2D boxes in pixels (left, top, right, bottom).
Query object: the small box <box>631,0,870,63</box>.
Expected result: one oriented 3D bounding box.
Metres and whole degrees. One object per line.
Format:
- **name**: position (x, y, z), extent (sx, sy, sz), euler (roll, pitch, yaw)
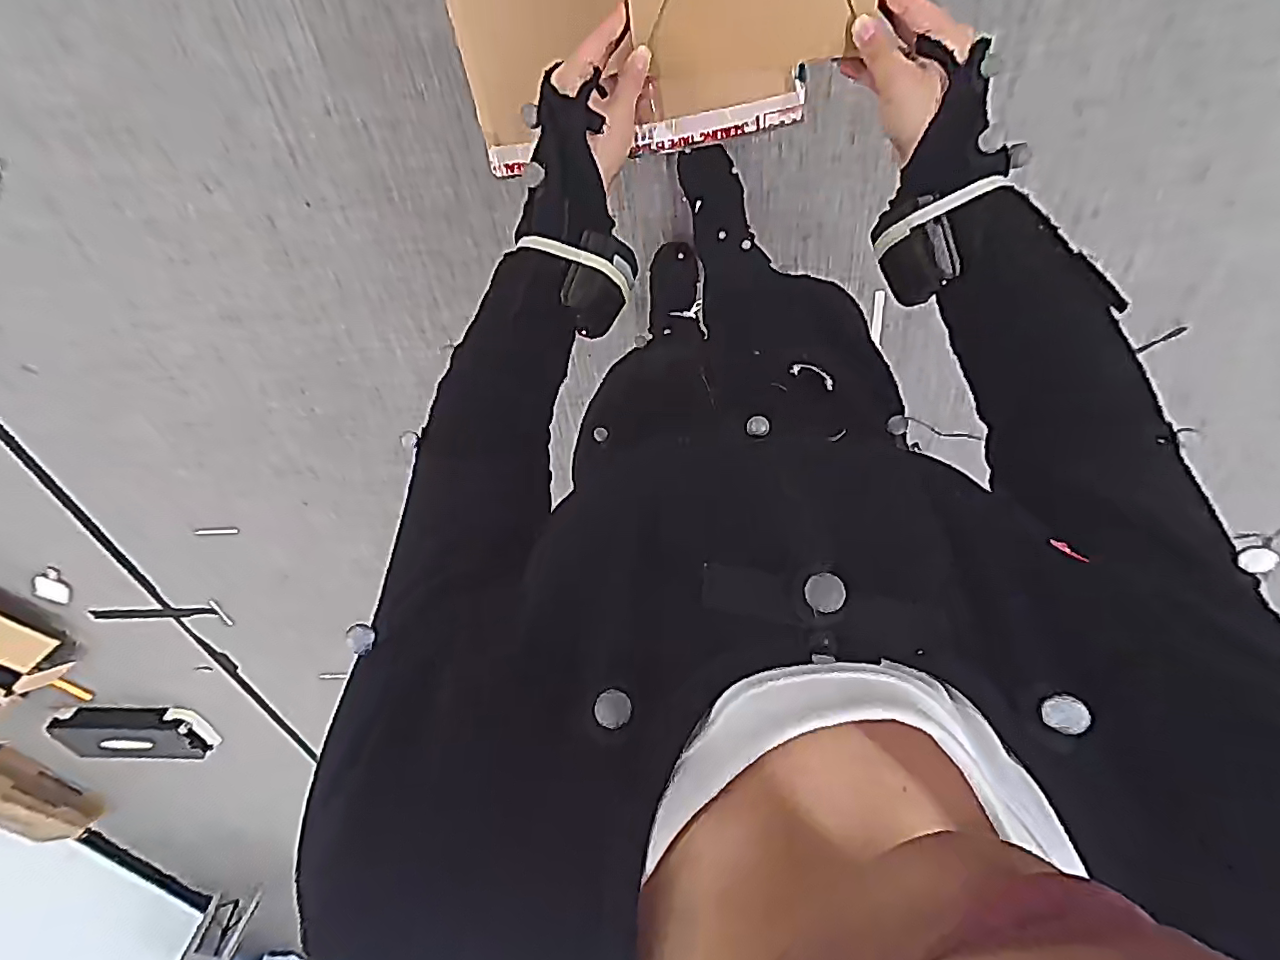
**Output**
- **small box**: position (0.073, -0.416, 0.368), extent (0.168, 0.176, 0.179), euler (-2, 142, 6)
